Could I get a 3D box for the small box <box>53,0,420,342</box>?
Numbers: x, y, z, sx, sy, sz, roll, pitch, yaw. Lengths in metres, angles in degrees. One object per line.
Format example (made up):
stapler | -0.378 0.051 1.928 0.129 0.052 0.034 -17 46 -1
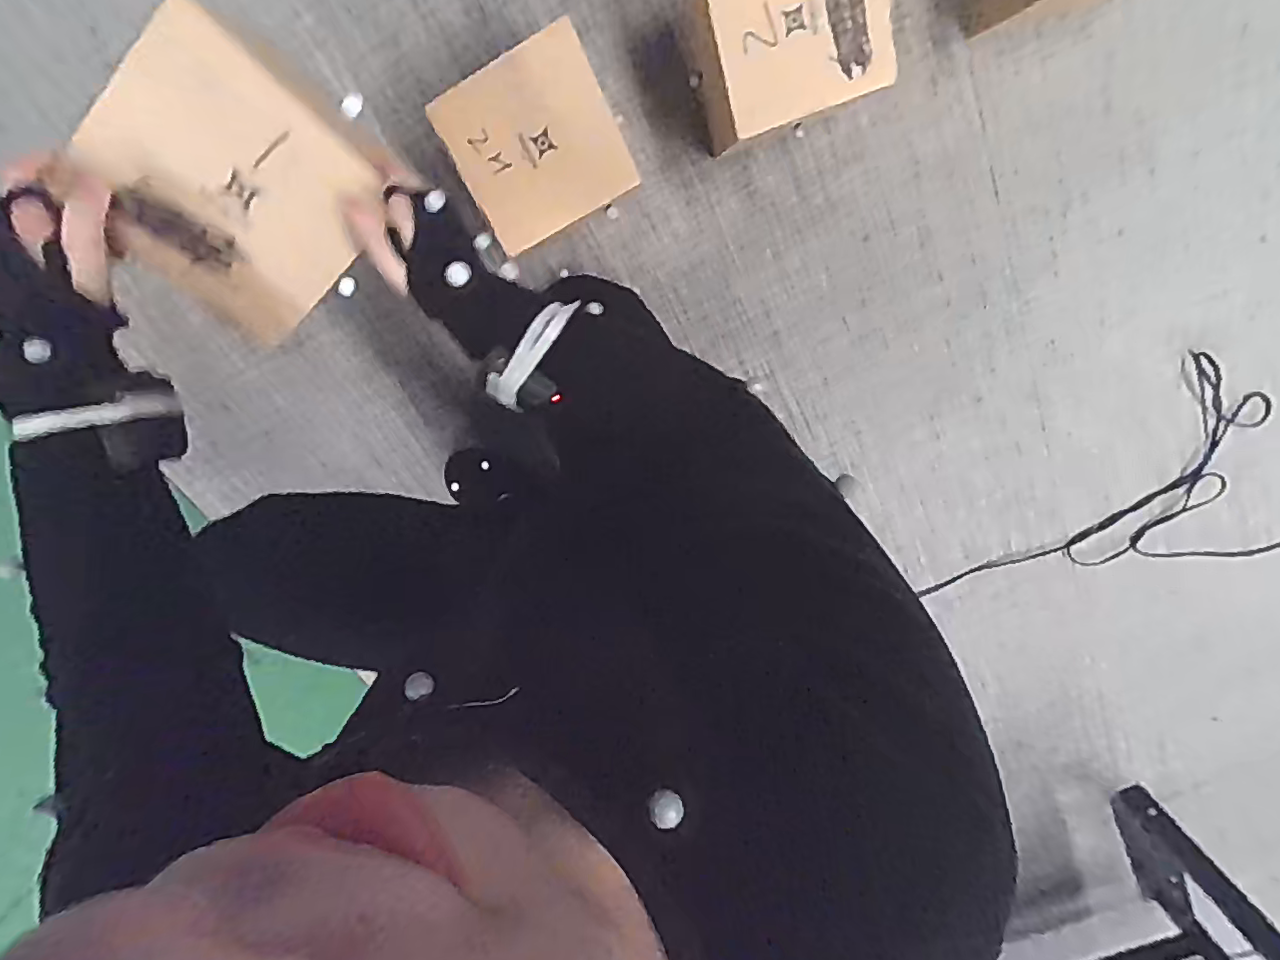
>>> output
small box | -0.311 -0.257 0.463 0.179 0.176 0.168 -40 125 12
